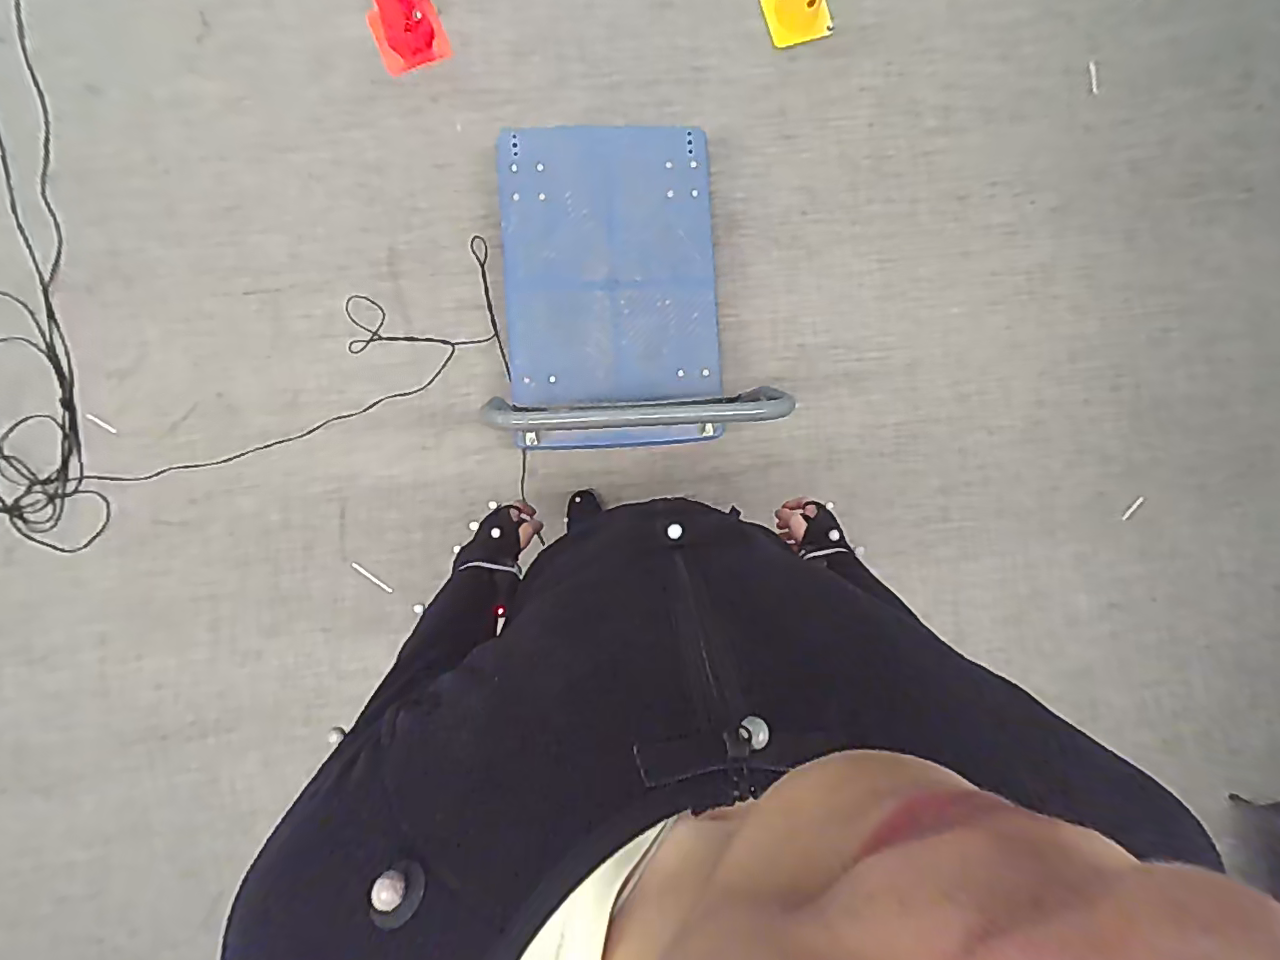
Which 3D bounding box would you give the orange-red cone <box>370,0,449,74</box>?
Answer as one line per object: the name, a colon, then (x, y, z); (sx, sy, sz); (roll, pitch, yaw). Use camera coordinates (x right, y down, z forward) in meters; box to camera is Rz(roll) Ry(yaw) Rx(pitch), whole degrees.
orange-red cone: (-0.681, -1.329, 1.446); (0.199, 0.360, 0.198); (-21, 90, -2)
